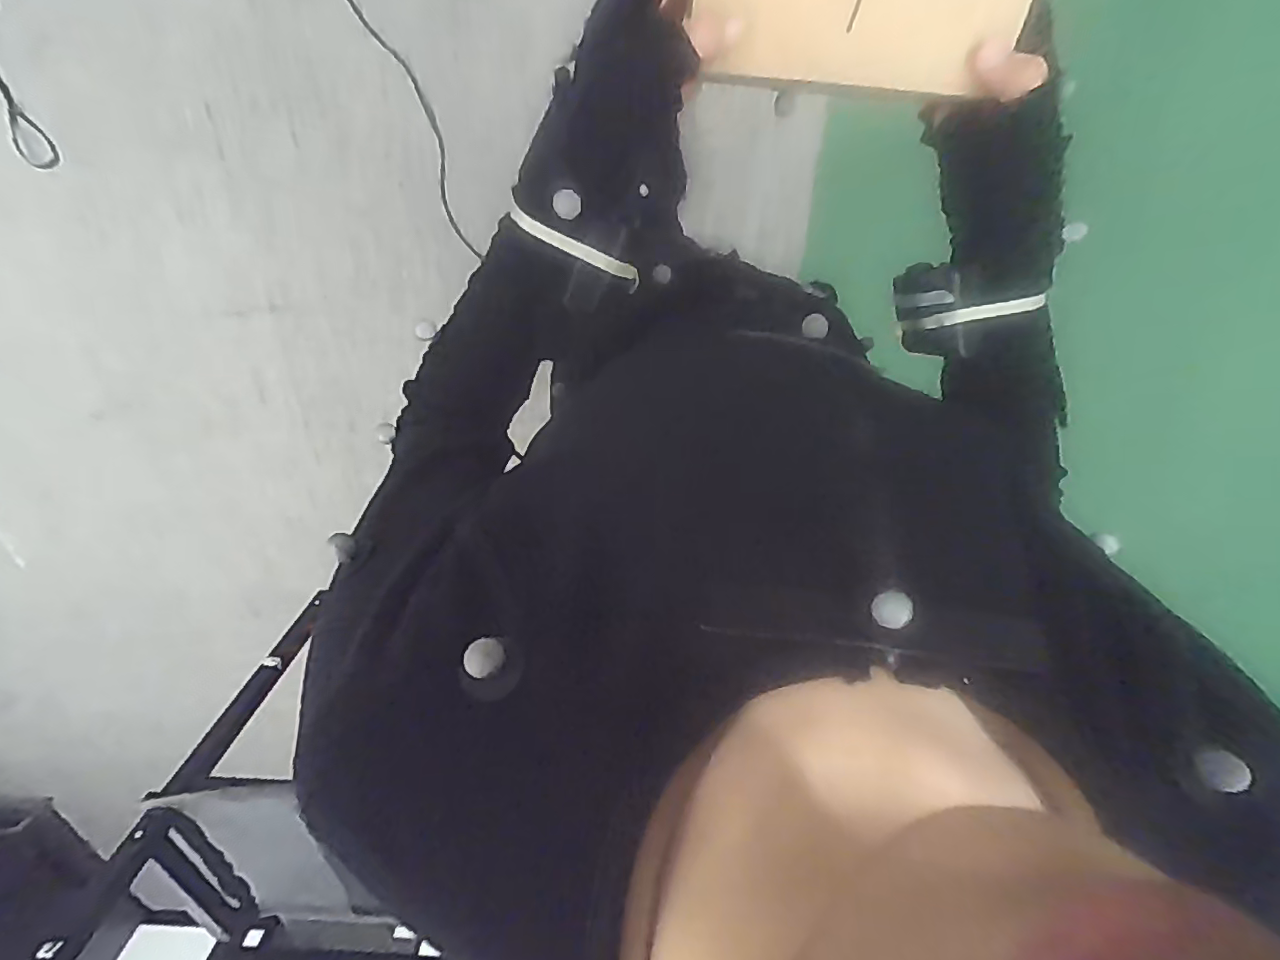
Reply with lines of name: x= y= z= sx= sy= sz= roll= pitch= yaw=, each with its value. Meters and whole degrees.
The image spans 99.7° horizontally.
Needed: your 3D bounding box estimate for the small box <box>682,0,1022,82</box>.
small box: x=0.114 y=-0.336 z=0.296 sx=0.168 sy=0.176 sz=0.179 roll=5 pitch=125 yaw=0
